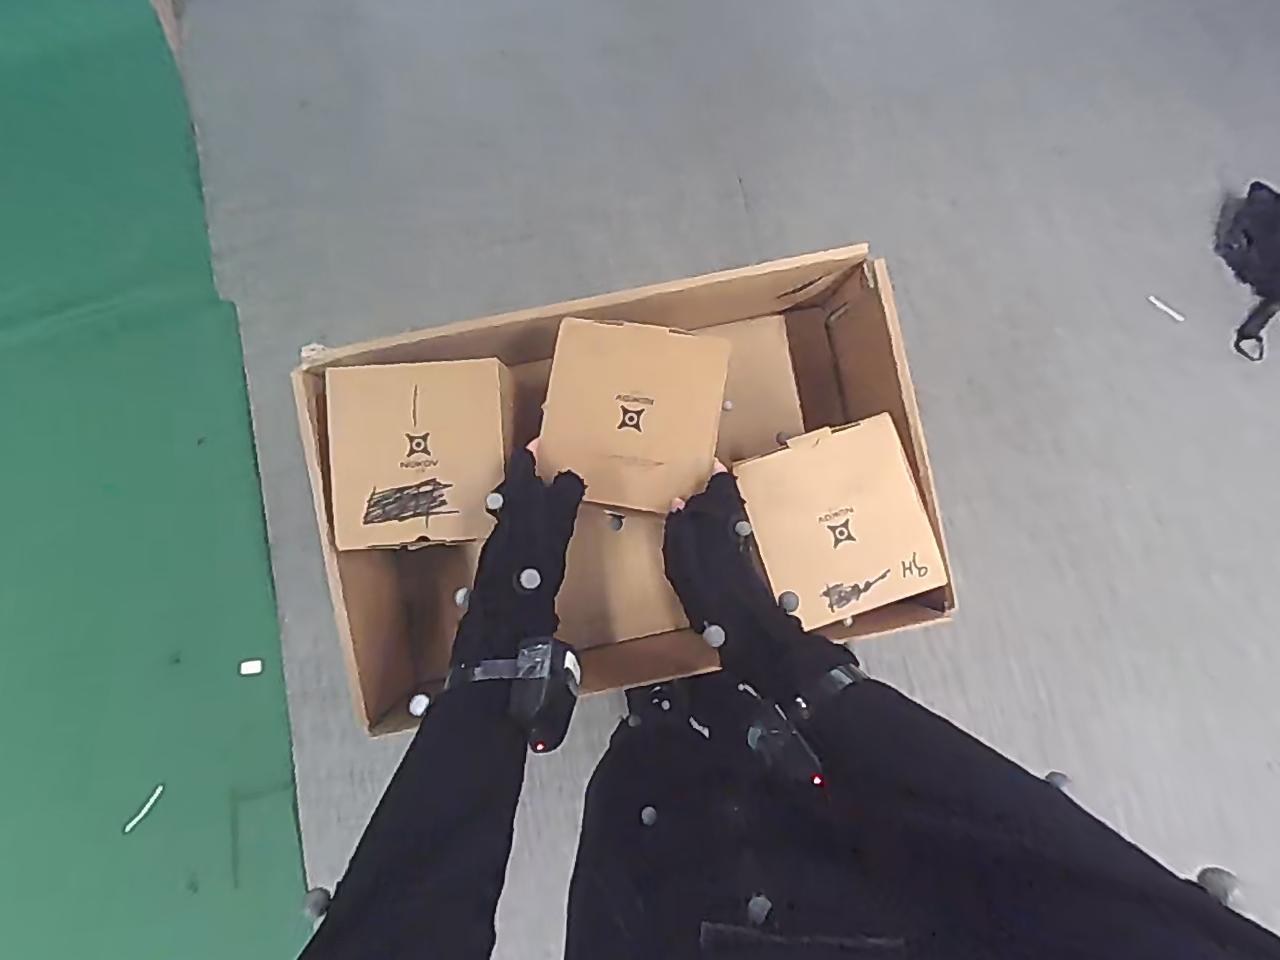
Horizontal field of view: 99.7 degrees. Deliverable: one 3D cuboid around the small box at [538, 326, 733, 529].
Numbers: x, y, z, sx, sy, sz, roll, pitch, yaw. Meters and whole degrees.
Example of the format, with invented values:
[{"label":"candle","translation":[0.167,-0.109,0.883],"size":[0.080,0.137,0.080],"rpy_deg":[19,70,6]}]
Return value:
[{"label":"small box","translation":[0.001,-0.045,0.589],"size":[0.168,0.176,0.179],"rpy_deg":[8,84,5]}]
